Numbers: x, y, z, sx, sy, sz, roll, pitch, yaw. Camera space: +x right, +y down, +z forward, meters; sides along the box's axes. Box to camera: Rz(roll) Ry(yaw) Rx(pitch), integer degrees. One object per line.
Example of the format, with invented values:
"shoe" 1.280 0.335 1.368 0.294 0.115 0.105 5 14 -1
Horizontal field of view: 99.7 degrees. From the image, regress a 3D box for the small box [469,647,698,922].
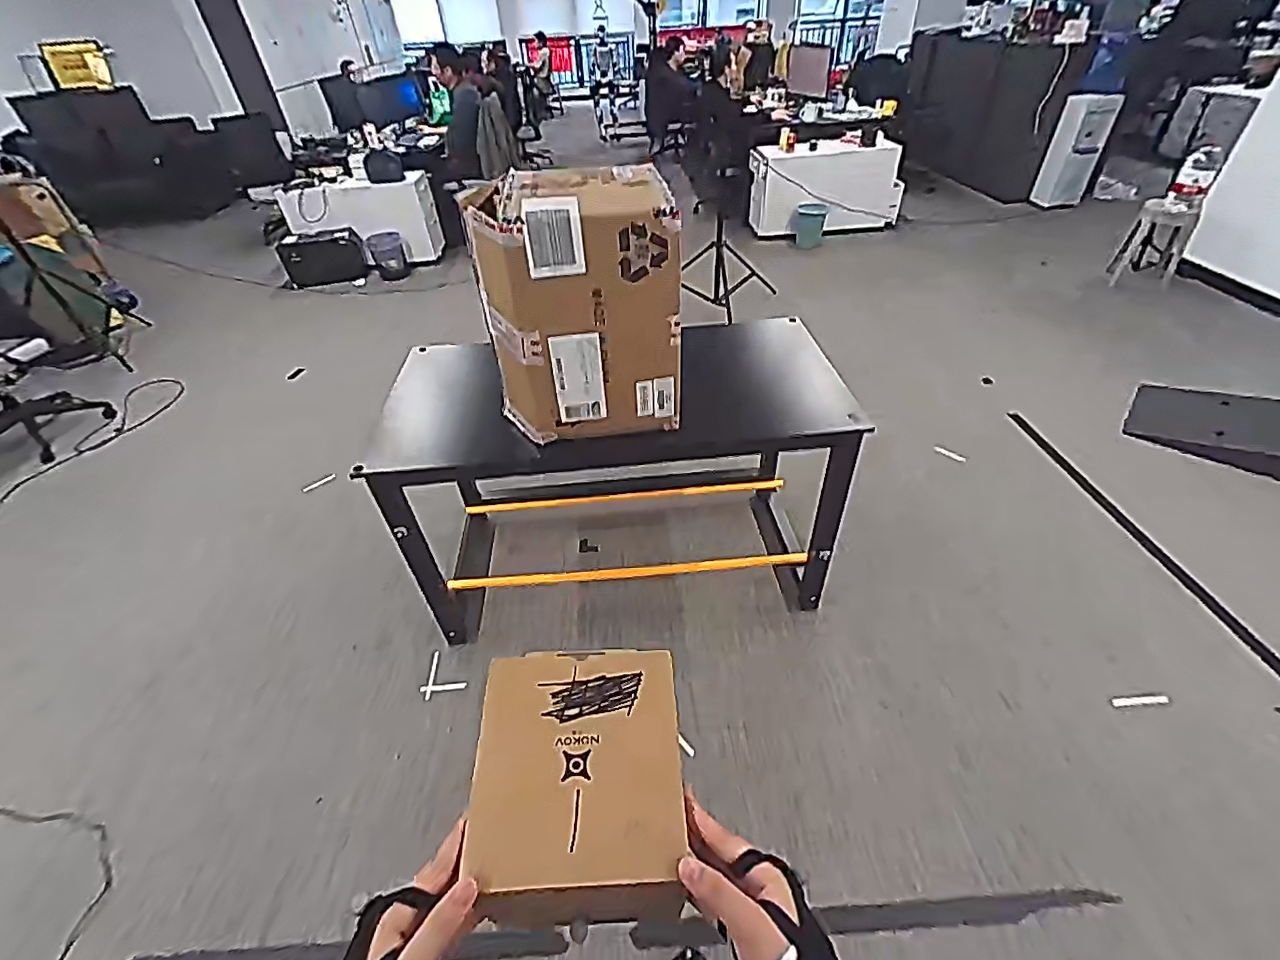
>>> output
"small box" -0.043 0.276 0.495 0.168 0.176 0.179 -3 44 -2
